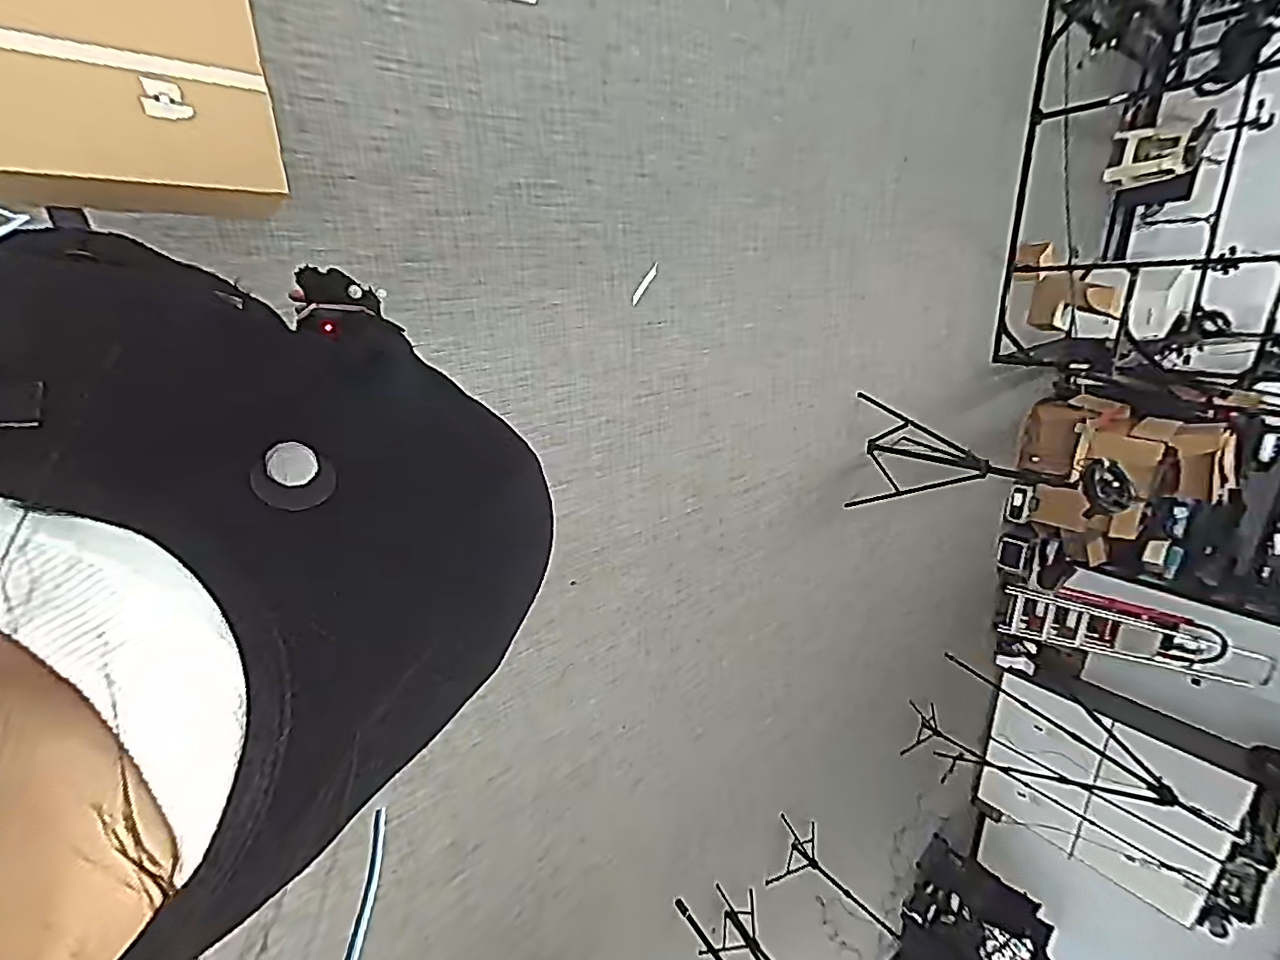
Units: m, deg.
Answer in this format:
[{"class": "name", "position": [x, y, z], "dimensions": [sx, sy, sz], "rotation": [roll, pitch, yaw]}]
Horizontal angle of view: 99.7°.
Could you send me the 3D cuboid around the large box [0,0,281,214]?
[{"class": "large box", "position": [-0.861, -0.623, 0.858], "dimensions": [0.408, 0.320, 0.320], "rotation": [-16, 113, -37]}]
